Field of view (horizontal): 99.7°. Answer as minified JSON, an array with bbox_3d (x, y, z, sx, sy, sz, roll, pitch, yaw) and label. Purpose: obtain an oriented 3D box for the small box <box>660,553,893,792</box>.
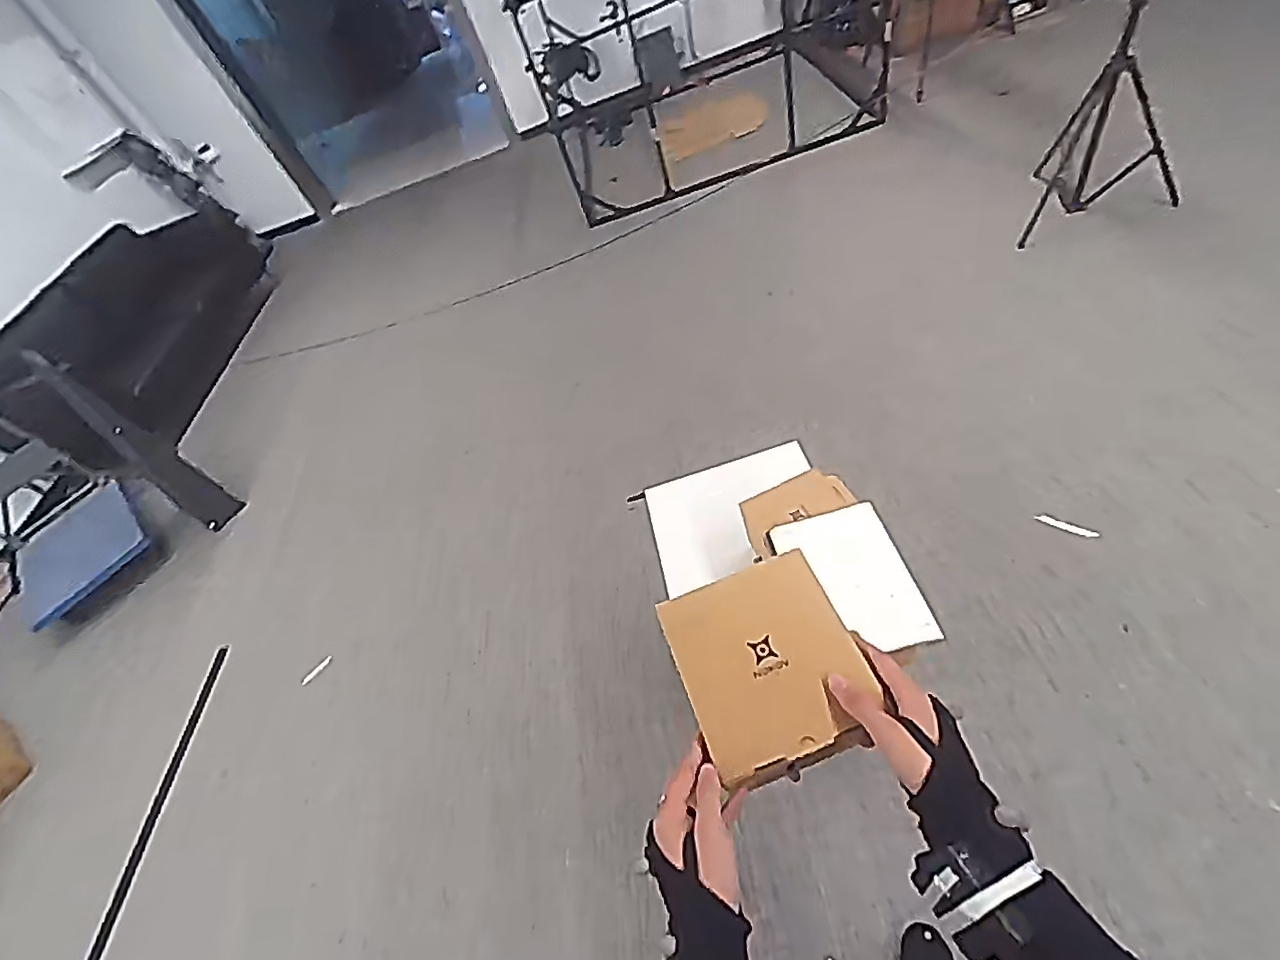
[{"bbox_3d":[0.134,0.213,0.584,0.168,0.176,0.179,-22,56,-2],"label":"small box"}]
